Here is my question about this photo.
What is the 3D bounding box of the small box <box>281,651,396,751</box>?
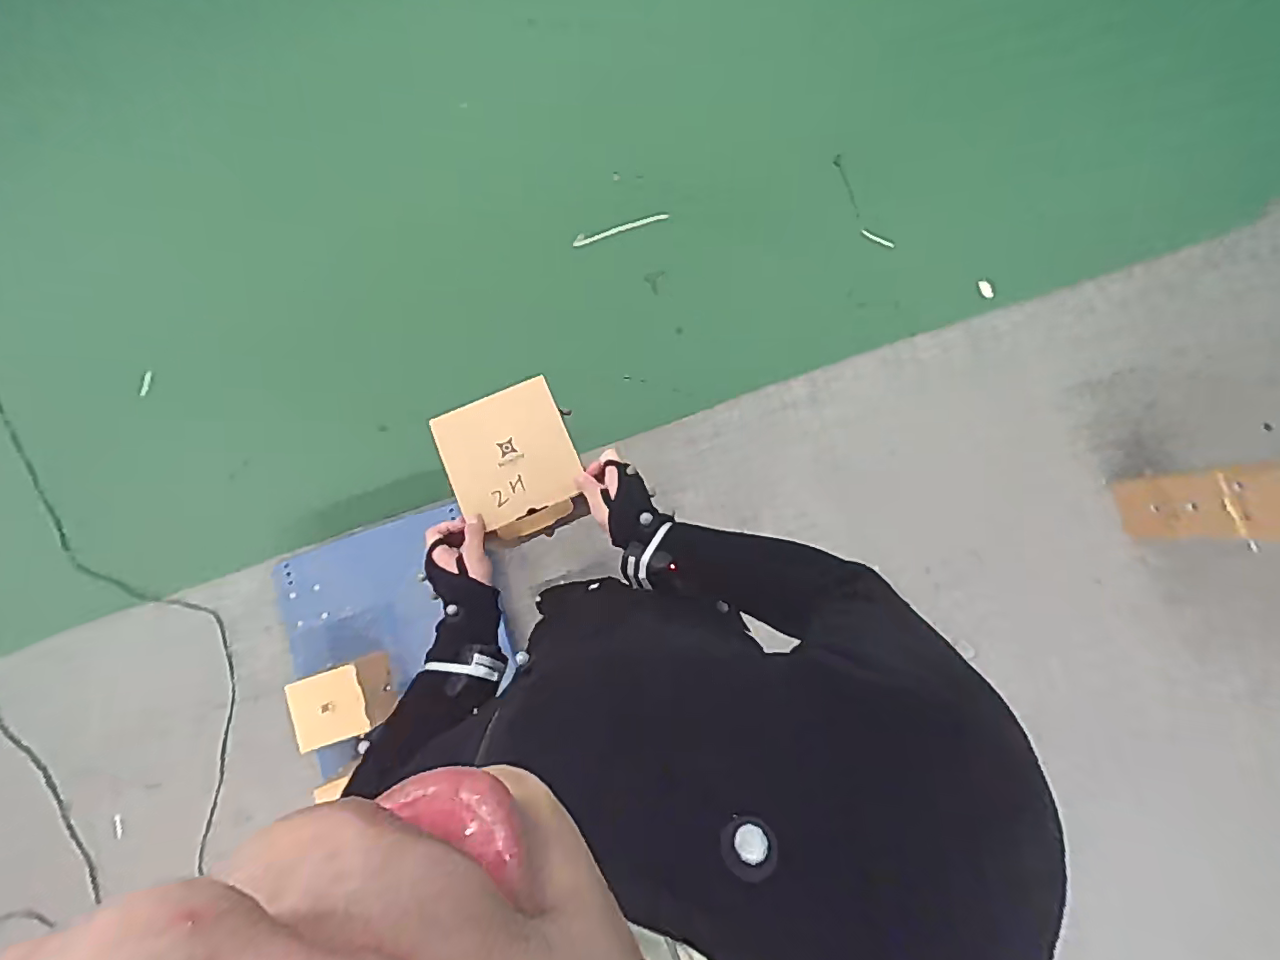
[{"bbox_3d":[-0.752,0.549,1.363,0.179,0.176,0.168,-18,84,-2],"label":"small box"}]

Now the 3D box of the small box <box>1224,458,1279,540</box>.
[{"bbox_3d":[1.483,0.036,1.211,0.179,0.176,0.168,-15,84,0],"label":"small box"}]

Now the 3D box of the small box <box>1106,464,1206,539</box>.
[{"bbox_3d":[1.488,0.067,1.538,0.168,0.176,0.179,-14,84,1],"label":"small box"}]

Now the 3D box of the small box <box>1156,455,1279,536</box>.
[{"bbox_3d":[1.478,0.046,1.376,0.179,0.176,0.168,-14,84,2],"label":"small box"}]

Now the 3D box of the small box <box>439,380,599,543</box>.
[{"bbox_3d":[-0.164,-0.017,0.778,0.168,0.176,0.179,-16,80,-1],"label":"small box"}]
